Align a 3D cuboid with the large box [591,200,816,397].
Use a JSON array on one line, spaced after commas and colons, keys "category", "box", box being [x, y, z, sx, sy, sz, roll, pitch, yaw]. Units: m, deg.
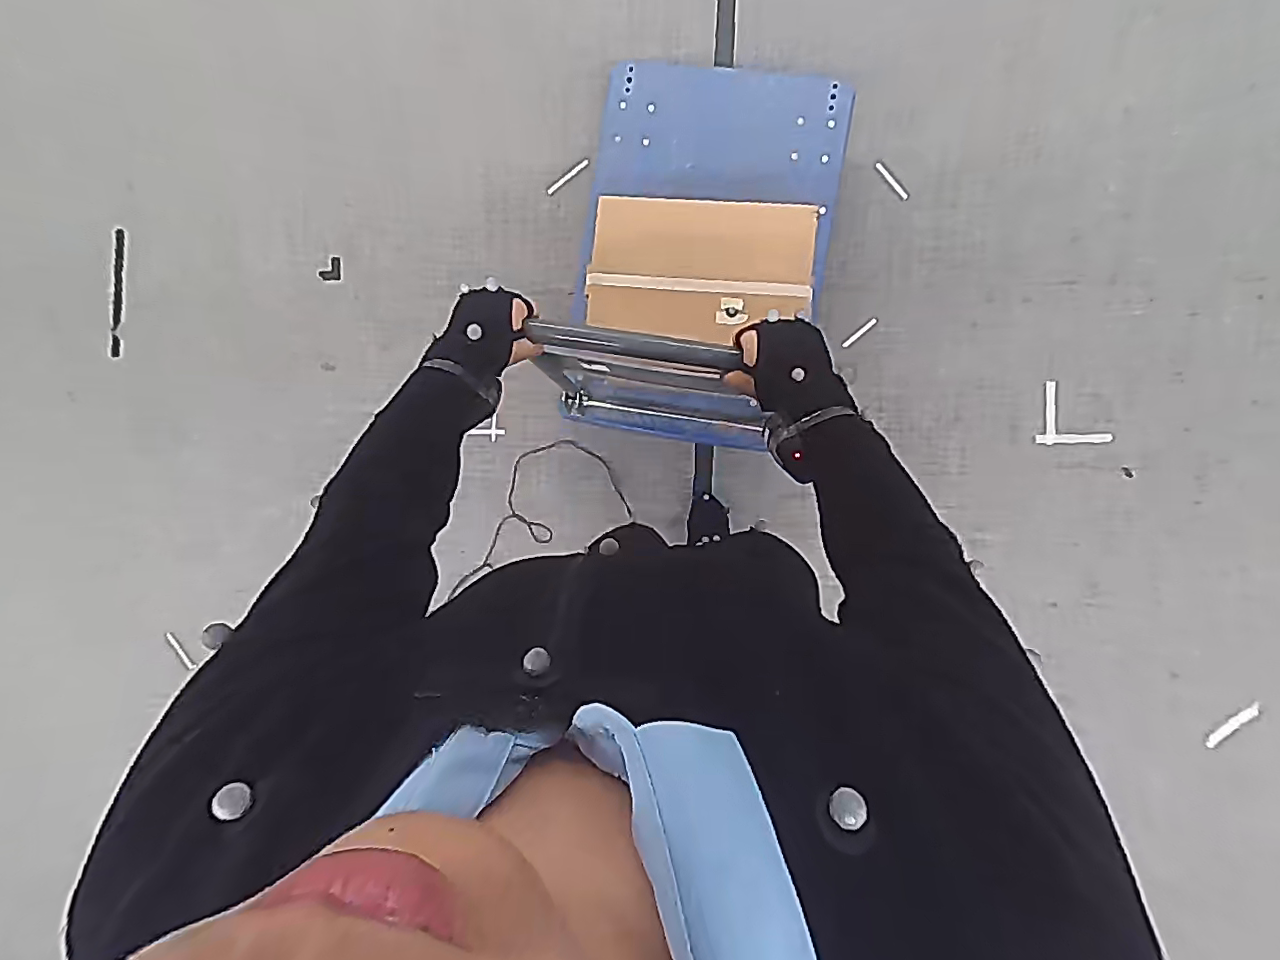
[{"category": "large box", "box": [0.127, -0.363, 1.154, 0.408, 0.320, 0.320, 6, 92, 6]}]
